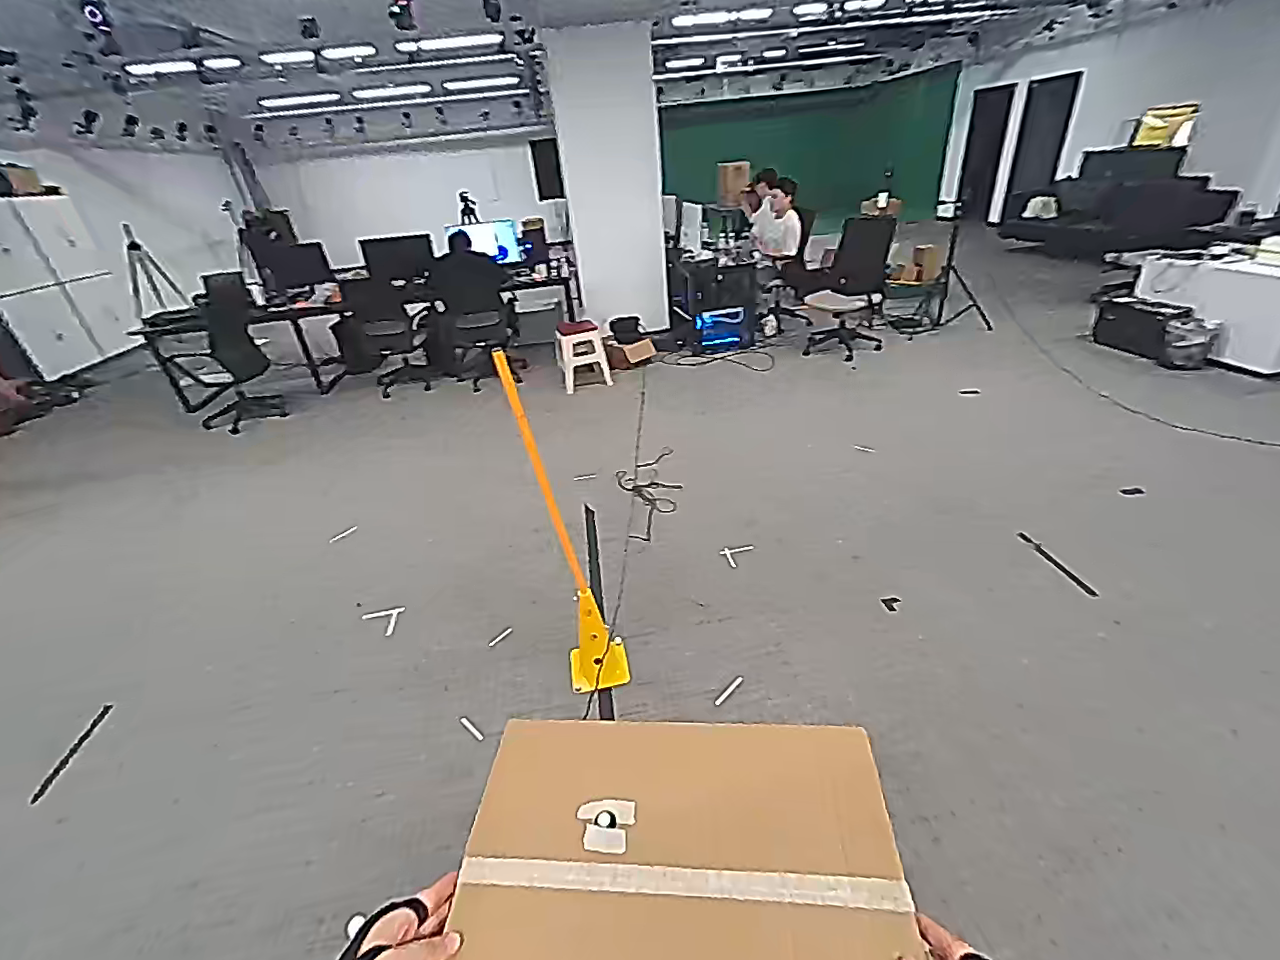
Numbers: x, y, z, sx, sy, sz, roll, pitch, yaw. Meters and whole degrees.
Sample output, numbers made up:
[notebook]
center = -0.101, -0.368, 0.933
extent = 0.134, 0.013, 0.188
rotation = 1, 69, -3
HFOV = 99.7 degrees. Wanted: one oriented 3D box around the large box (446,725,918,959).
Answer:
[large box]
center = 0.052, 0.495, 0.577
extent = 0.408, 0.320, 0.320
rotation = -4, 33, 8
